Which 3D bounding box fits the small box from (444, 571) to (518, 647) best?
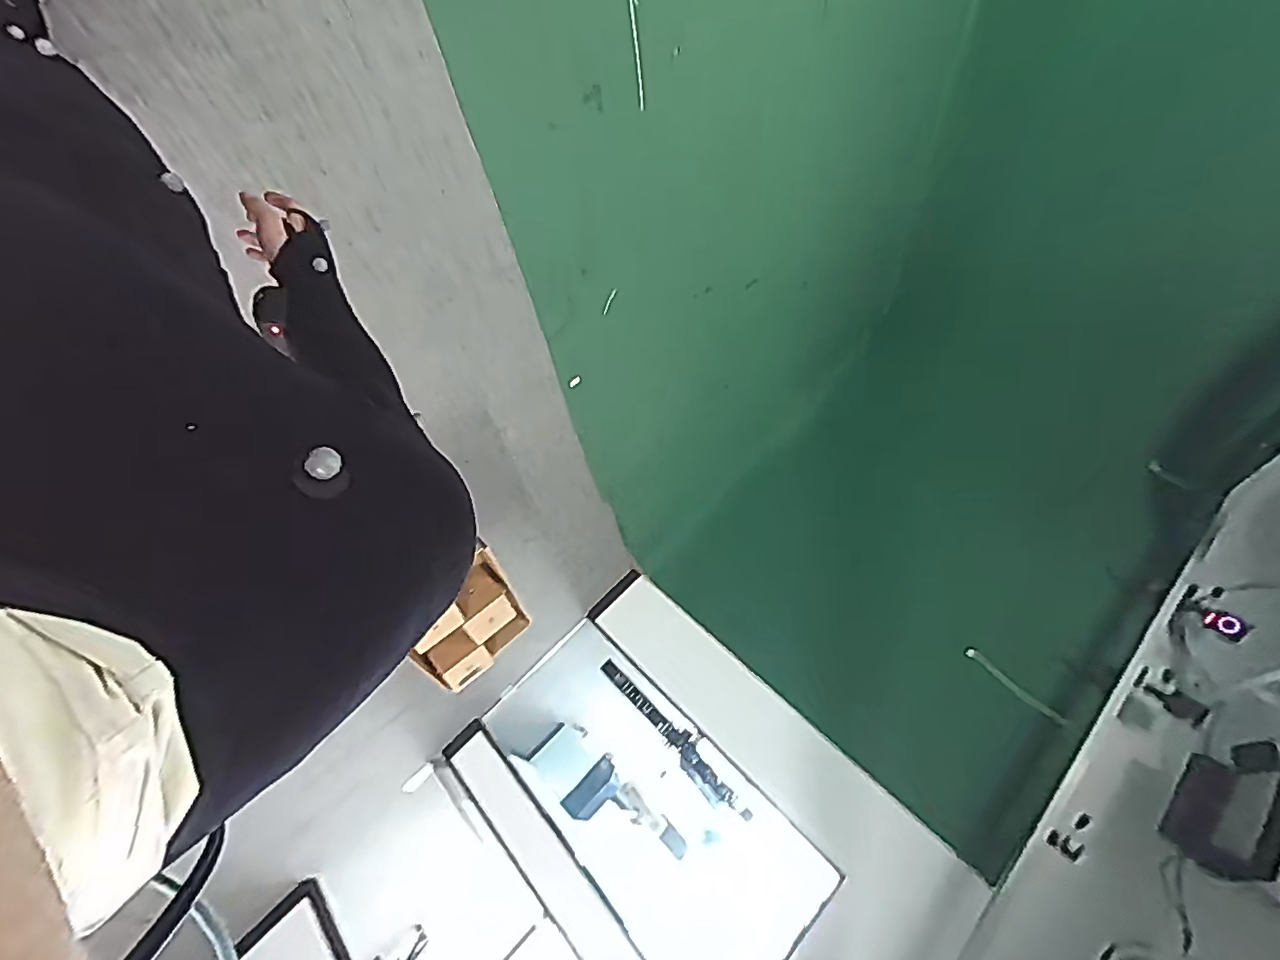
[{"bbox_3d":[-0.565,0.451,1.918,0.168,0.176,0.179,-37,146,-22],"label":"small box"}]
